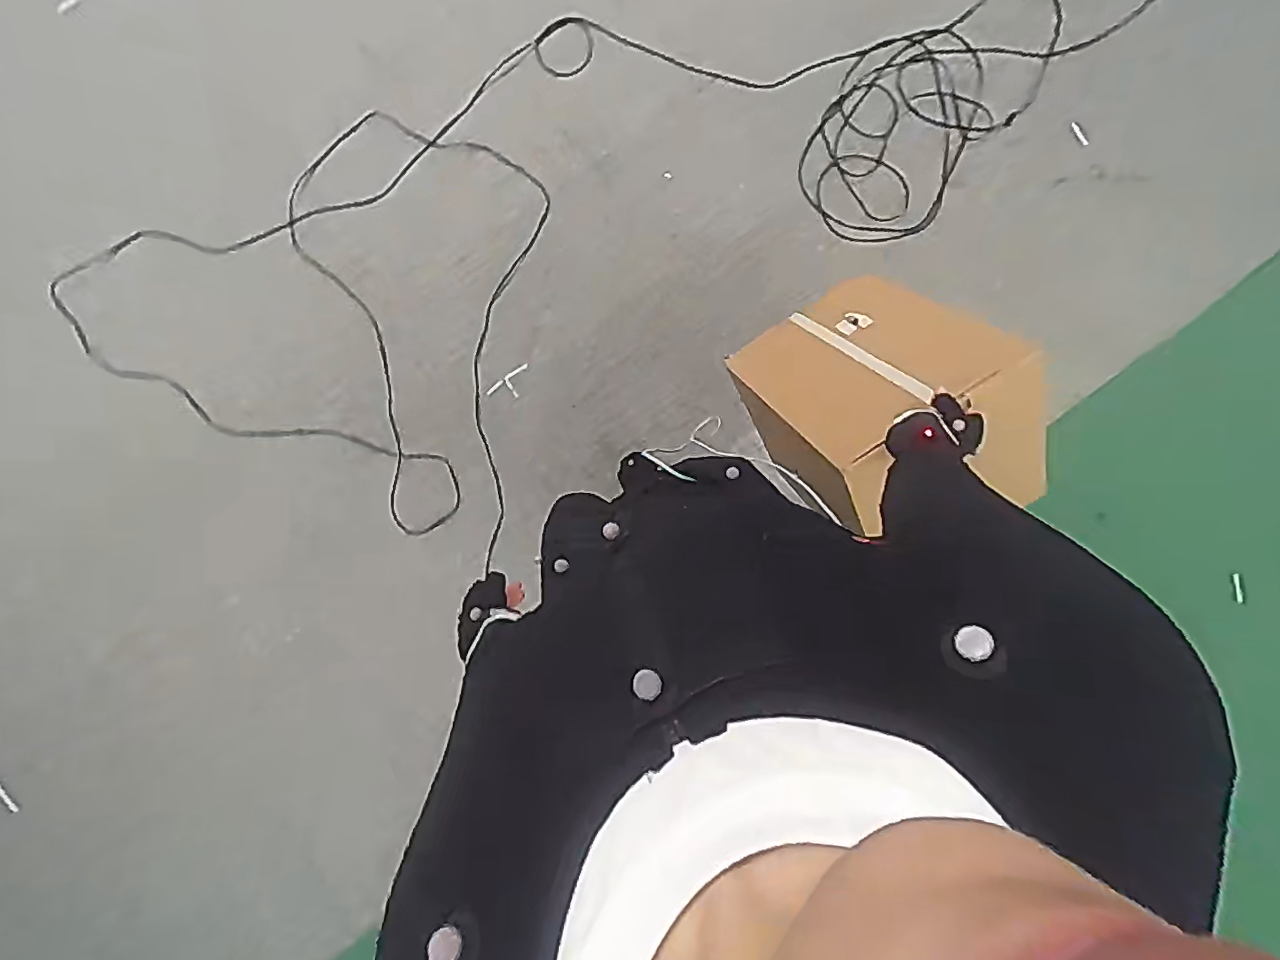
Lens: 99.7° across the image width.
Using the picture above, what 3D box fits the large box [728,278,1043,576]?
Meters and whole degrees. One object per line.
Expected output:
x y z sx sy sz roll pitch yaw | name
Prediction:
0.425 -0.109 0.982 0.320 0.408 0.320 -32 126 4 | large box
